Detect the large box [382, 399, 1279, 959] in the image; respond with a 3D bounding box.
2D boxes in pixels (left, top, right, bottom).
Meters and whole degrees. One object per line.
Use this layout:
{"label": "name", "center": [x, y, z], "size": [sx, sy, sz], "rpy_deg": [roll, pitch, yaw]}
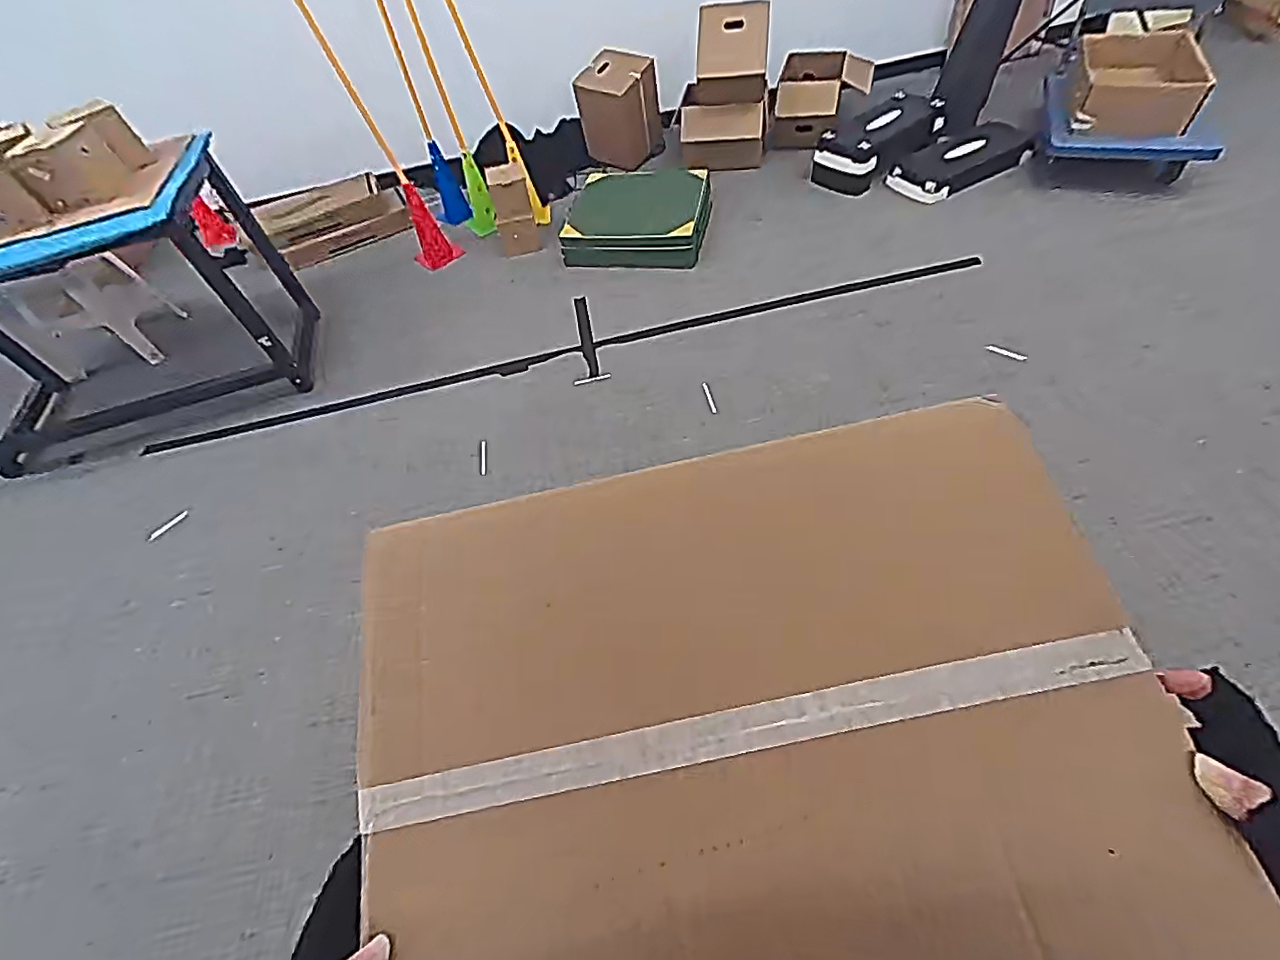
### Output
{"label": "large box", "center": [0.069, 0.186, 0.426], "size": [0.408, 0.320, 0.320], "rpy_deg": [-13, 67, 2]}
